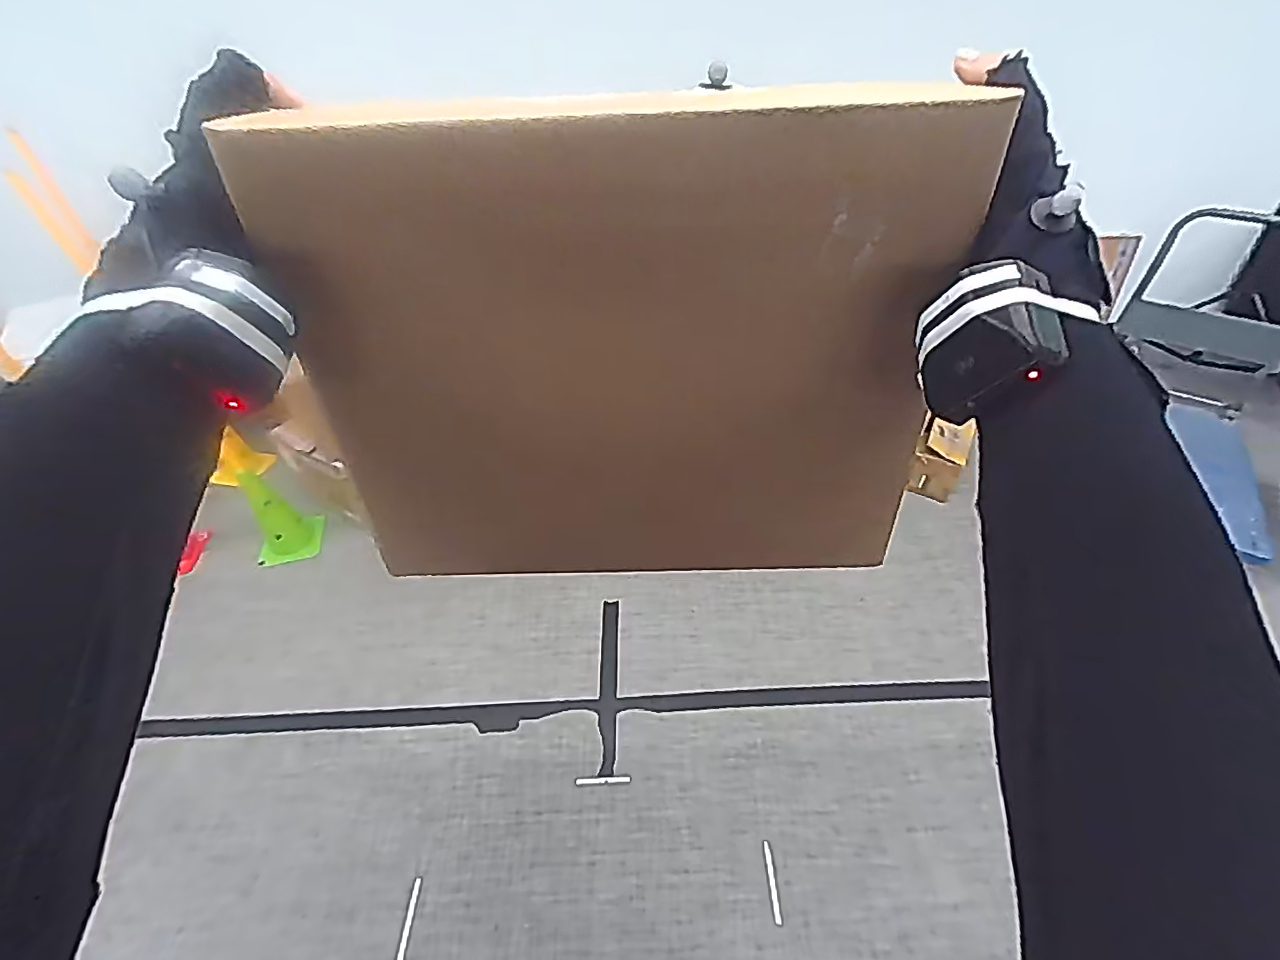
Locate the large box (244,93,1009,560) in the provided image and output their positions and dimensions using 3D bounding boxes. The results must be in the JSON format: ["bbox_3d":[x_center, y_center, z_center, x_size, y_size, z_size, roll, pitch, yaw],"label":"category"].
[{"bbox_3d":[-0.007,-0.144,0.480,0.408,0.320,0.320,0,35,1],"label":"large box"}]
